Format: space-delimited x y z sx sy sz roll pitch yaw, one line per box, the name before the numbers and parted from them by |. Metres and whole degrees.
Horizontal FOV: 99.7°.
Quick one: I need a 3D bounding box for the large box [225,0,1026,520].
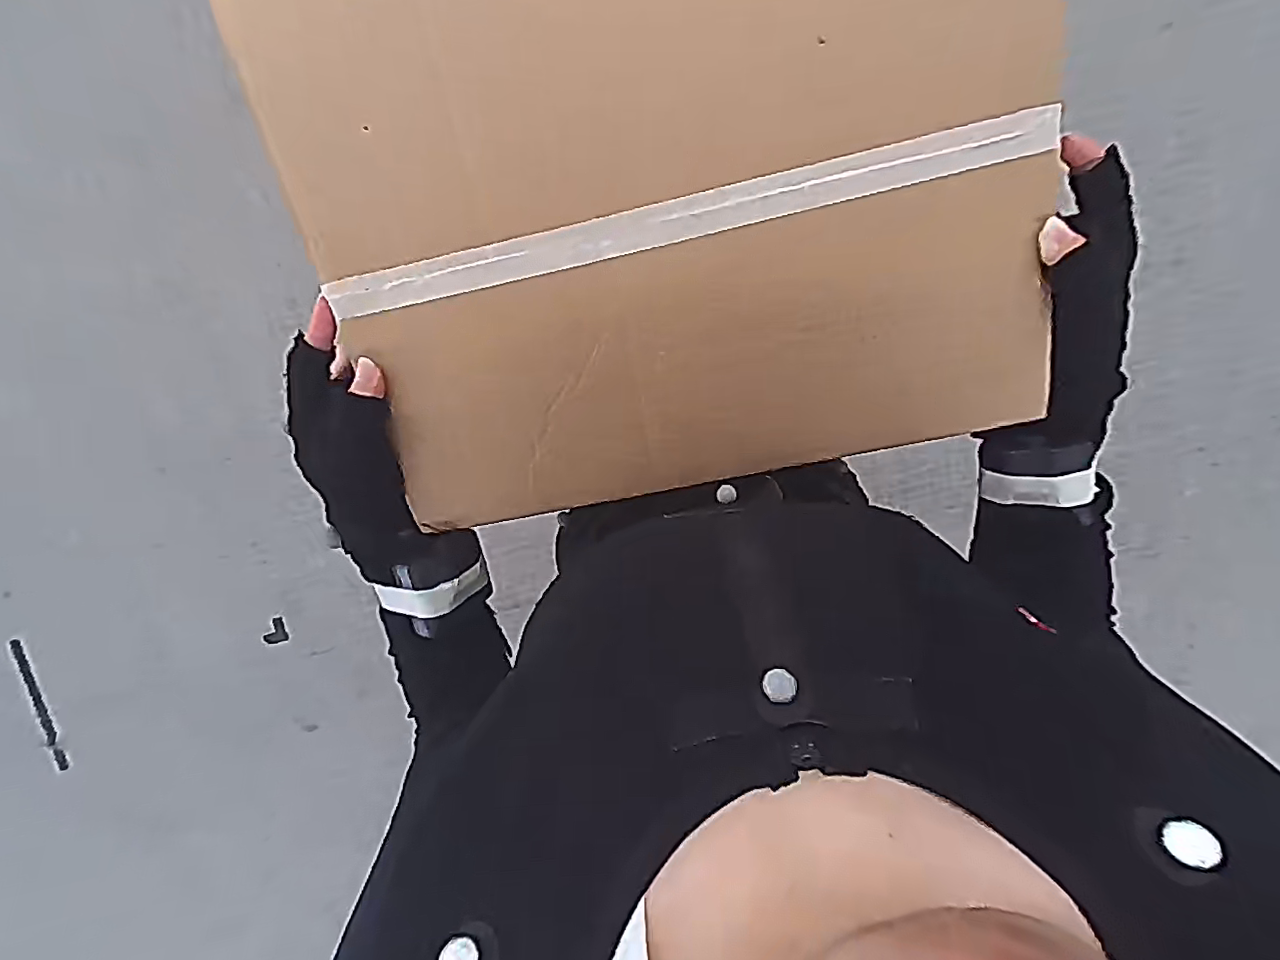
large box | 0.015 -0.204 0.447 0.408 0.320 0.320 -11 110 5
